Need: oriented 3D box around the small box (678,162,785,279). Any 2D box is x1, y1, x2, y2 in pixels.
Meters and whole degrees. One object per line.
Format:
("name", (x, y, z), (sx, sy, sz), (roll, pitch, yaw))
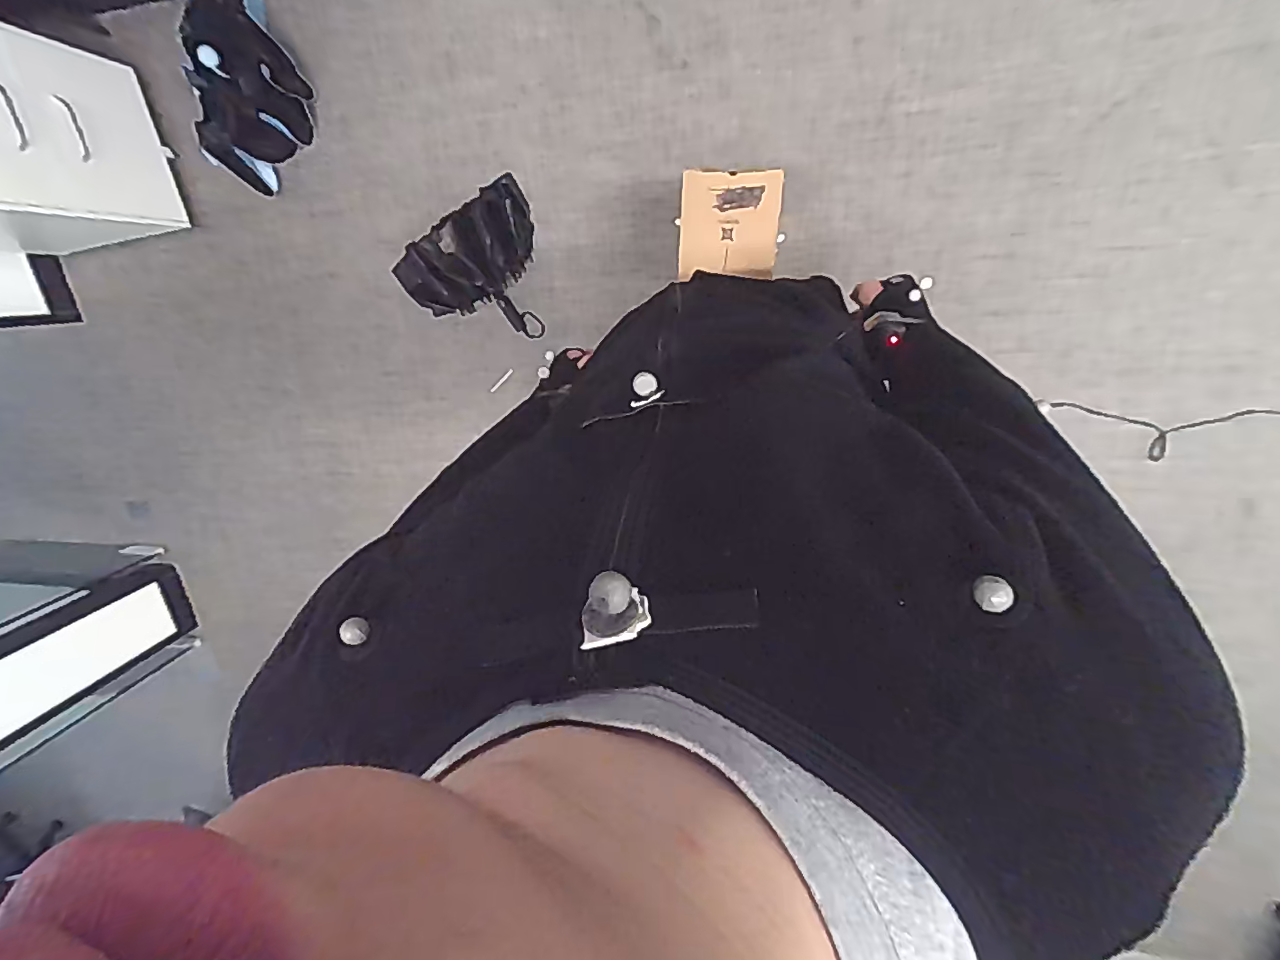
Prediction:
("small box", (0.163, -0.463, 0.984), (0.168, 0.176, 0.179), (6, 112, 9))
